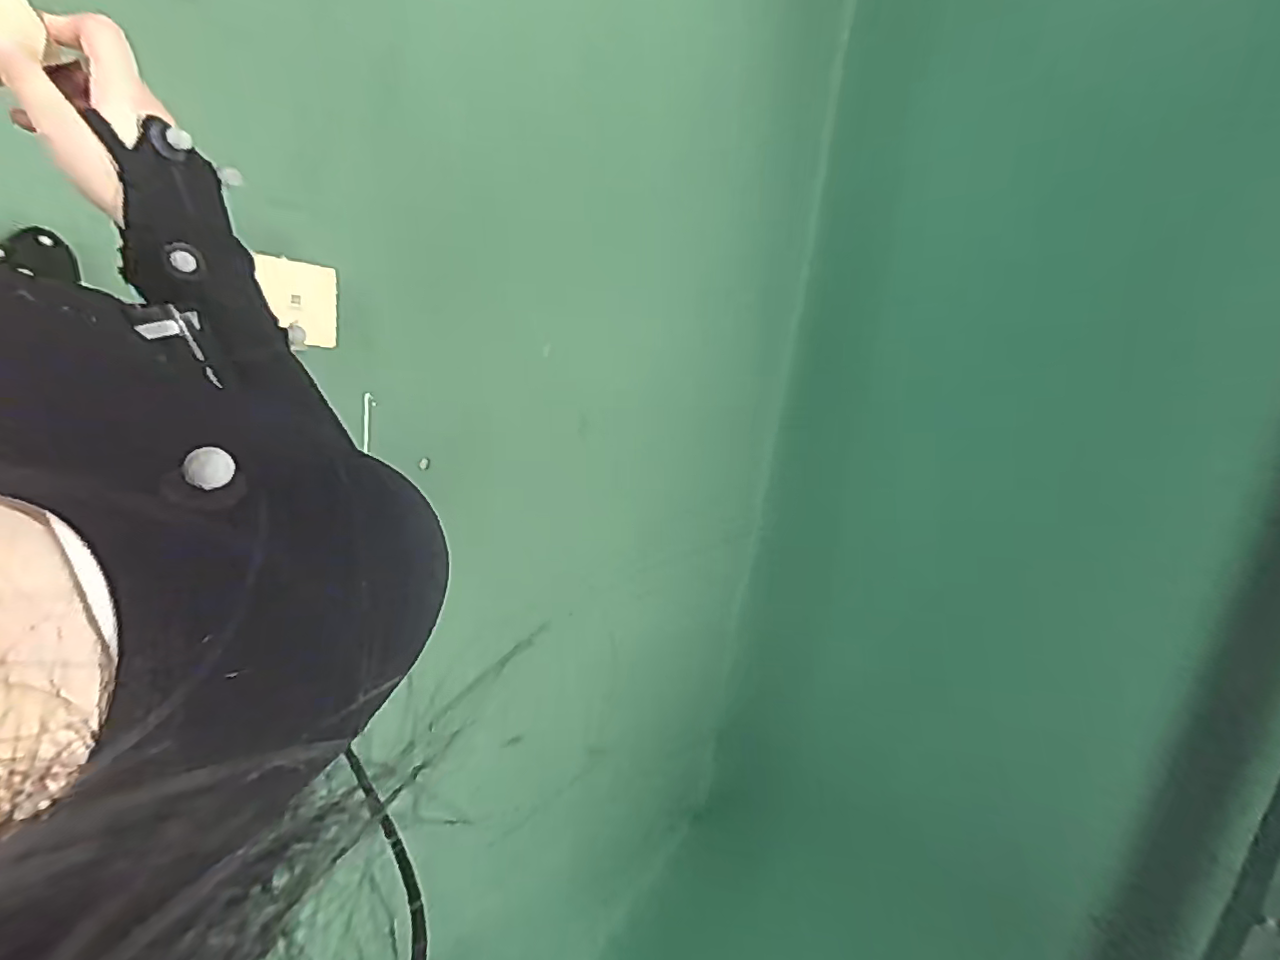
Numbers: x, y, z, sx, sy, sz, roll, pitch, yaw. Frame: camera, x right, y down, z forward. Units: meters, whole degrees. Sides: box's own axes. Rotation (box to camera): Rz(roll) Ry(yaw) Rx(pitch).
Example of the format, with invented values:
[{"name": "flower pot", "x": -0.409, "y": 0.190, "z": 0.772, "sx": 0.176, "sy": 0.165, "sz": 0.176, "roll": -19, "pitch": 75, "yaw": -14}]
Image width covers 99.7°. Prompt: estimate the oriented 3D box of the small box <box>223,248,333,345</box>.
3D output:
[{"name": "small box", "x": -0.803, "y": -0.402, "z": 1.200, "sx": 0.168, "sy": 0.176, "sz": 0.179, "roll": -7, "pitch": 109, "yaw": -49}]
